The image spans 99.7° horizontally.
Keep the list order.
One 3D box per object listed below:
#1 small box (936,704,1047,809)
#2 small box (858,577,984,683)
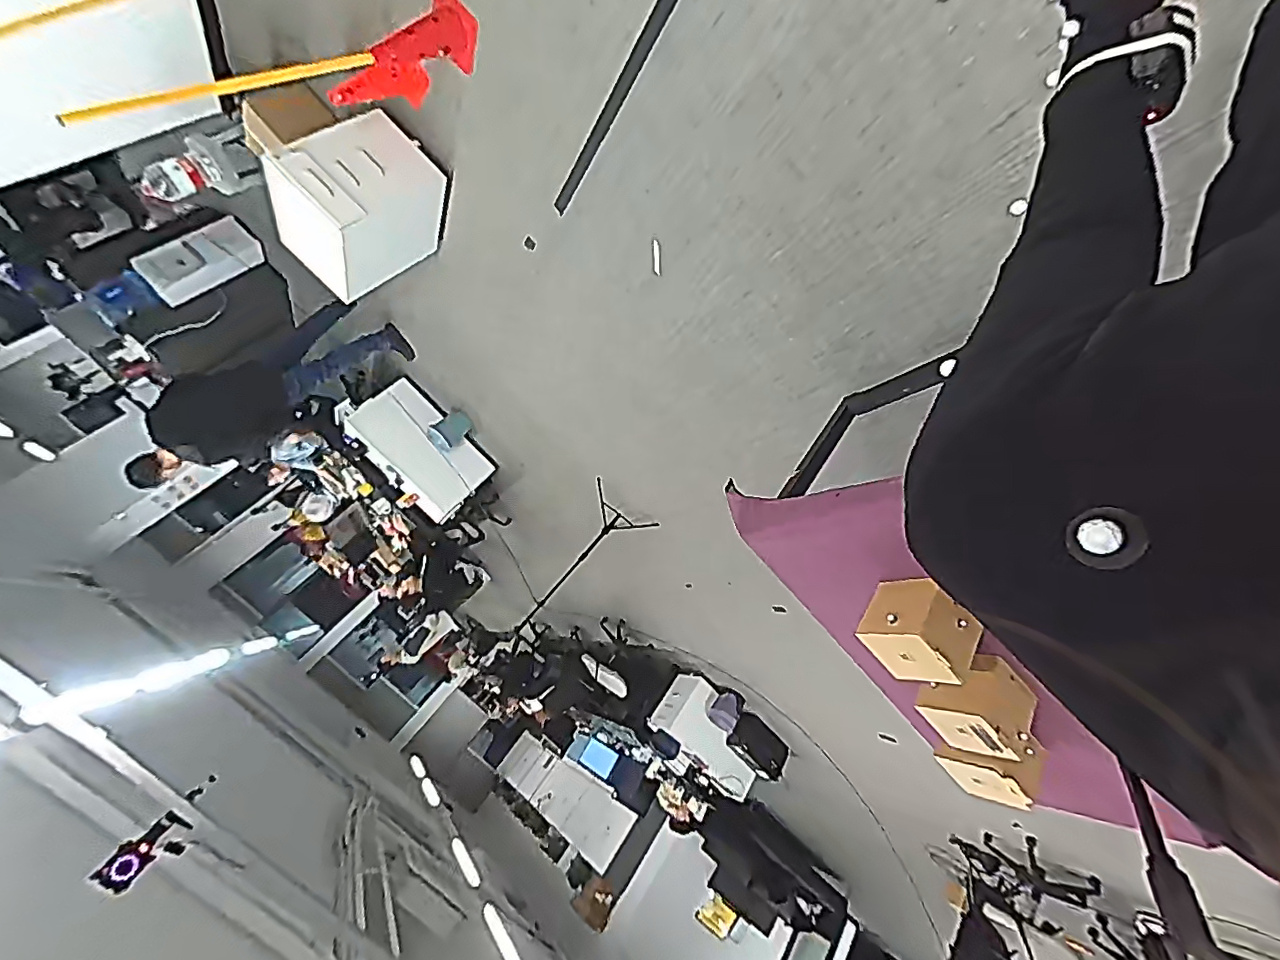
[{"bbox_3d":[0.942,0.728,1.446,0.168,0.176,0.179,46,151,-10],"label":"small box"},{"bbox_3d":[0.659,0.345,1.265,0.168,0.176,0.179,46,151,-9],"label":"small box"}]
